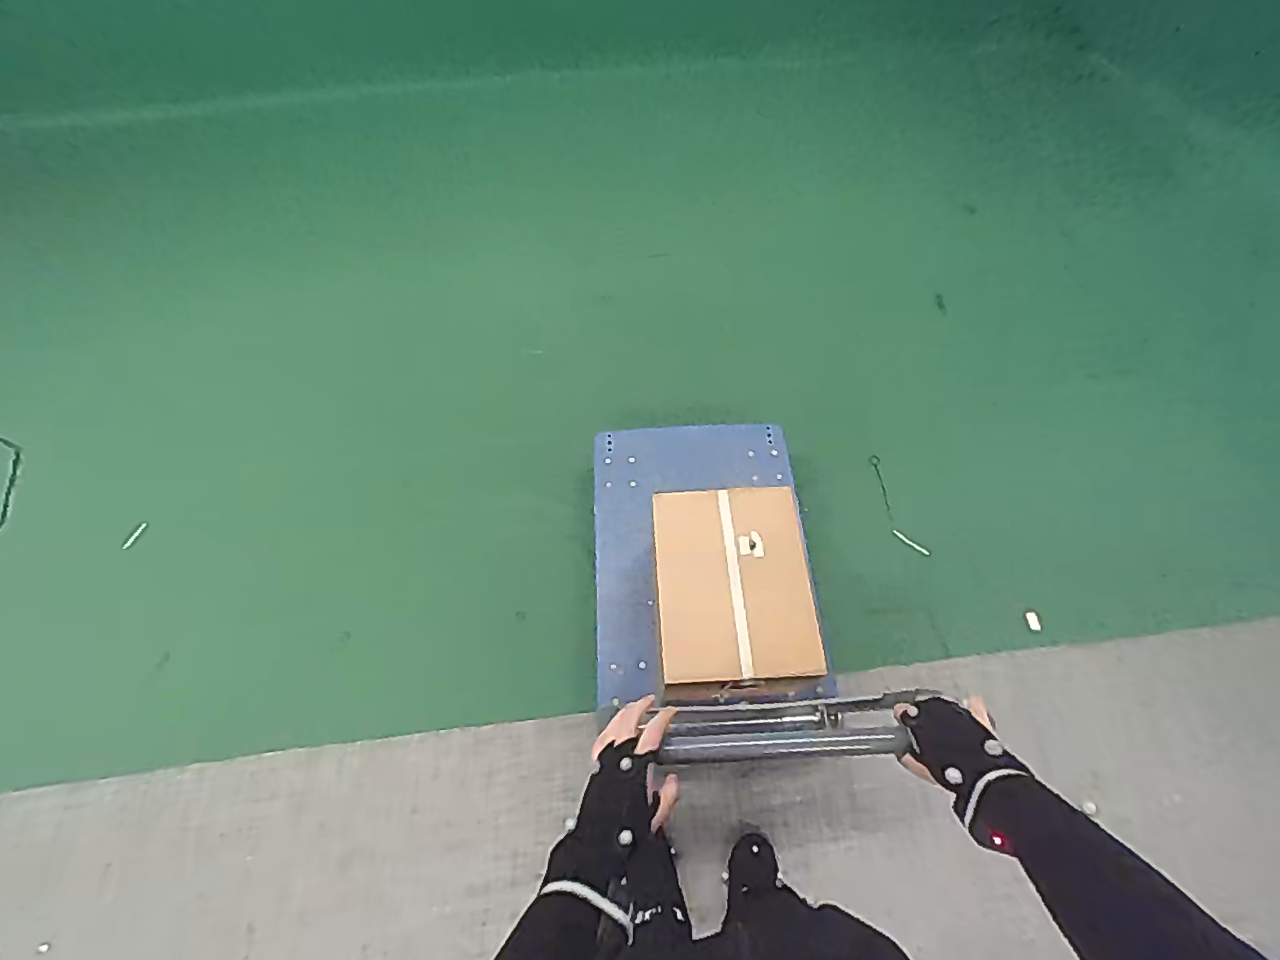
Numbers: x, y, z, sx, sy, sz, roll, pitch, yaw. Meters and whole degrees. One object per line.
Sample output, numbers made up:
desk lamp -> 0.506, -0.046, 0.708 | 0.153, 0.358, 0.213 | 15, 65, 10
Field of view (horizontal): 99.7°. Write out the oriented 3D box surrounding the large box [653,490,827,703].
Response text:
large box -> 0.197, 0.276, 1.246 | 0.320, 0.320, 0.408 | -2, 62, -1
